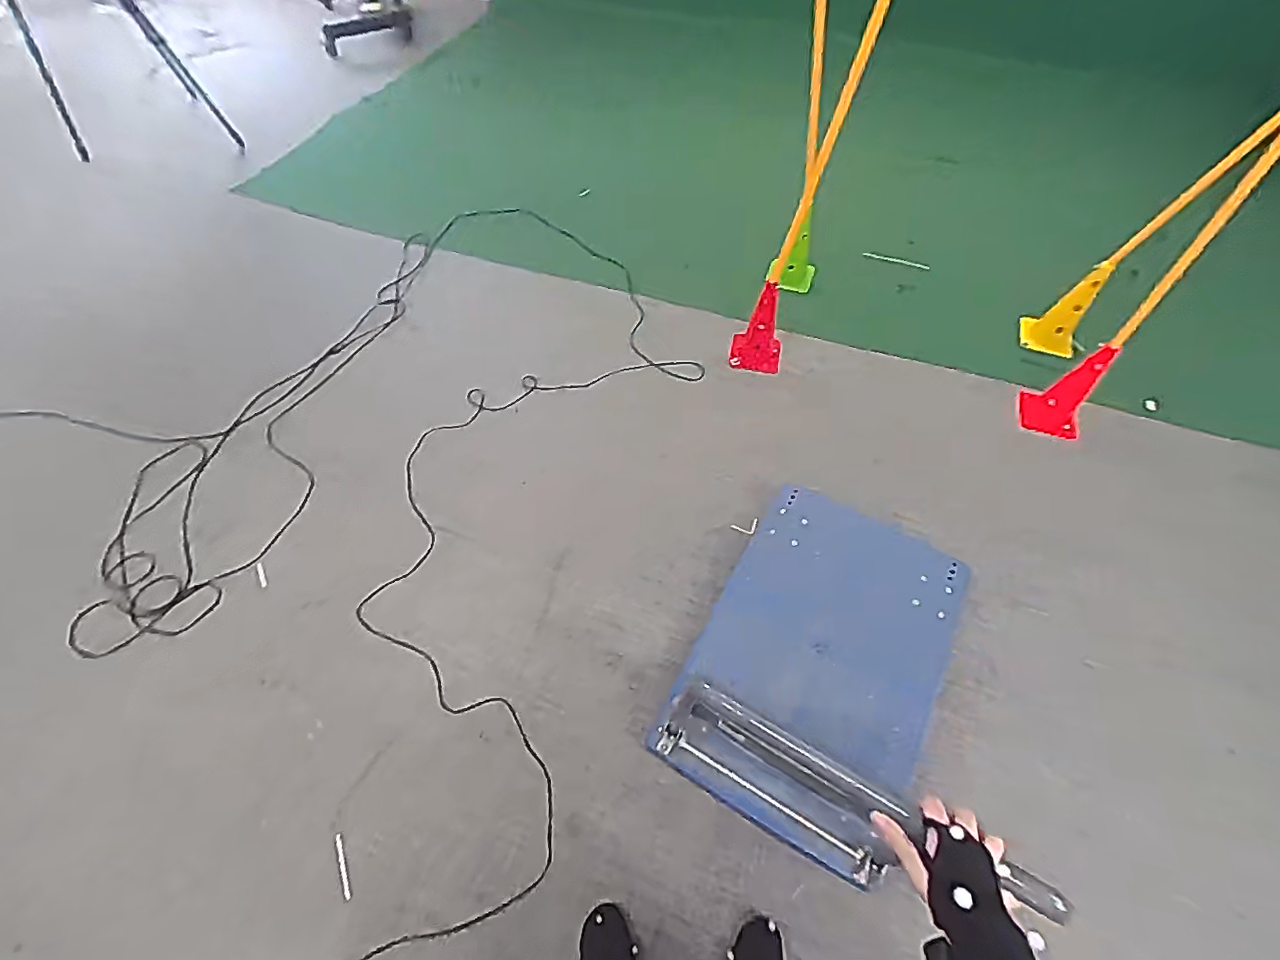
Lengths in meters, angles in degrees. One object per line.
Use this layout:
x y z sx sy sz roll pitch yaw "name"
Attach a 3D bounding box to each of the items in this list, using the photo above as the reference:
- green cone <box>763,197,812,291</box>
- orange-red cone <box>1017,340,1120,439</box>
0.677 -1.038 2.345 0.200 0.368 0.202 16 57 11 "green cone"
1.534 -0.345 1.897 0.198 0.360 0.199 17 57 10 "orange-red cone"
